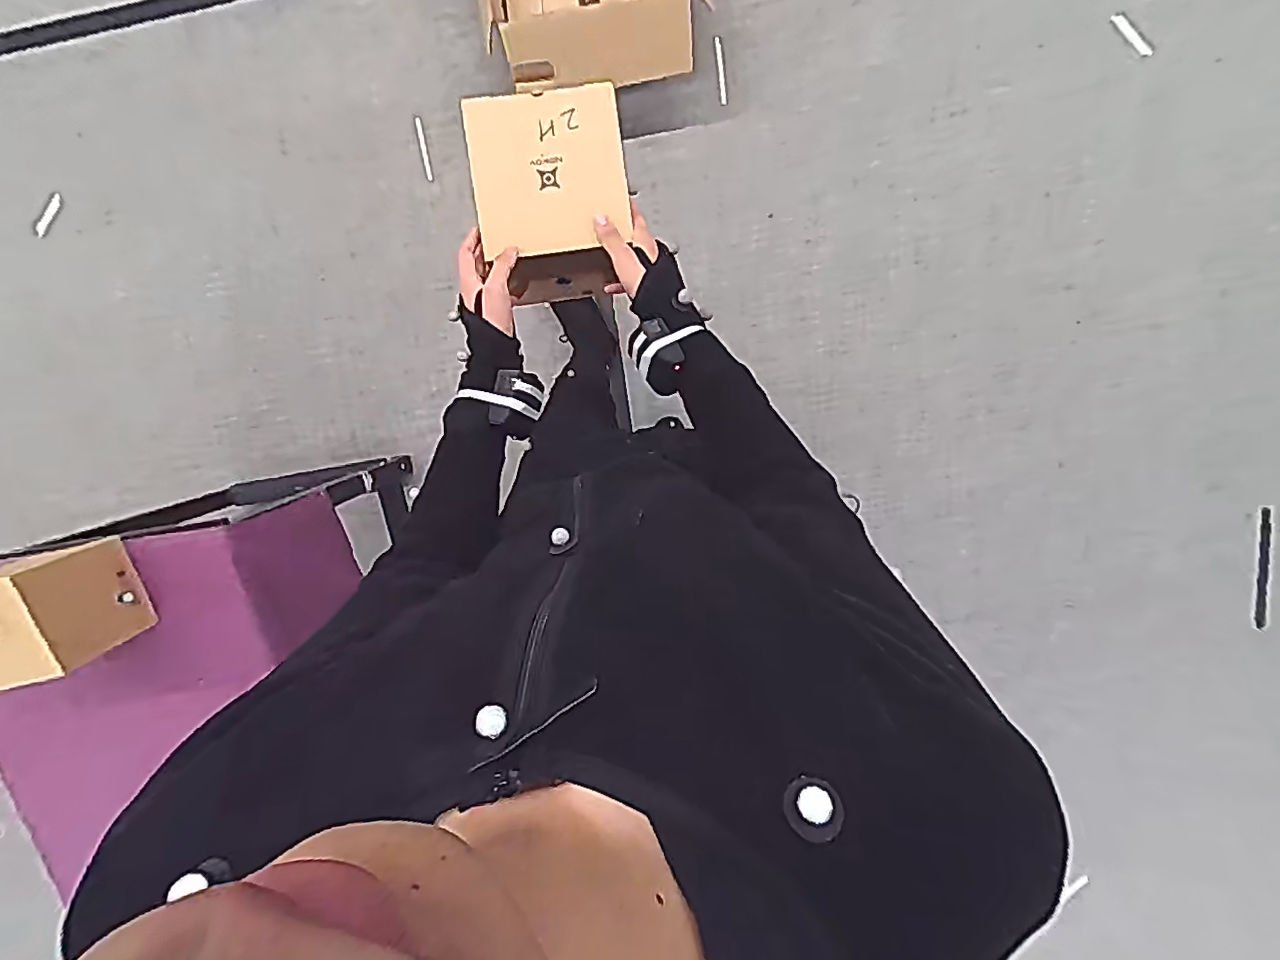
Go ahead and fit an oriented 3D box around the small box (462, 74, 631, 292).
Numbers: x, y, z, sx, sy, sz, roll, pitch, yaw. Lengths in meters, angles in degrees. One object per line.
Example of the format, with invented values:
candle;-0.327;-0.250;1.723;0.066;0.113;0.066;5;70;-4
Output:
small box;-0.100;-0.339;0.654;0.168;0.176;0.179;-8;92;-2

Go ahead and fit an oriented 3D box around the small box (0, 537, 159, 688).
small box;-0.942;0.208;0.860;0.179;0.176;0.168;-13;104;5
